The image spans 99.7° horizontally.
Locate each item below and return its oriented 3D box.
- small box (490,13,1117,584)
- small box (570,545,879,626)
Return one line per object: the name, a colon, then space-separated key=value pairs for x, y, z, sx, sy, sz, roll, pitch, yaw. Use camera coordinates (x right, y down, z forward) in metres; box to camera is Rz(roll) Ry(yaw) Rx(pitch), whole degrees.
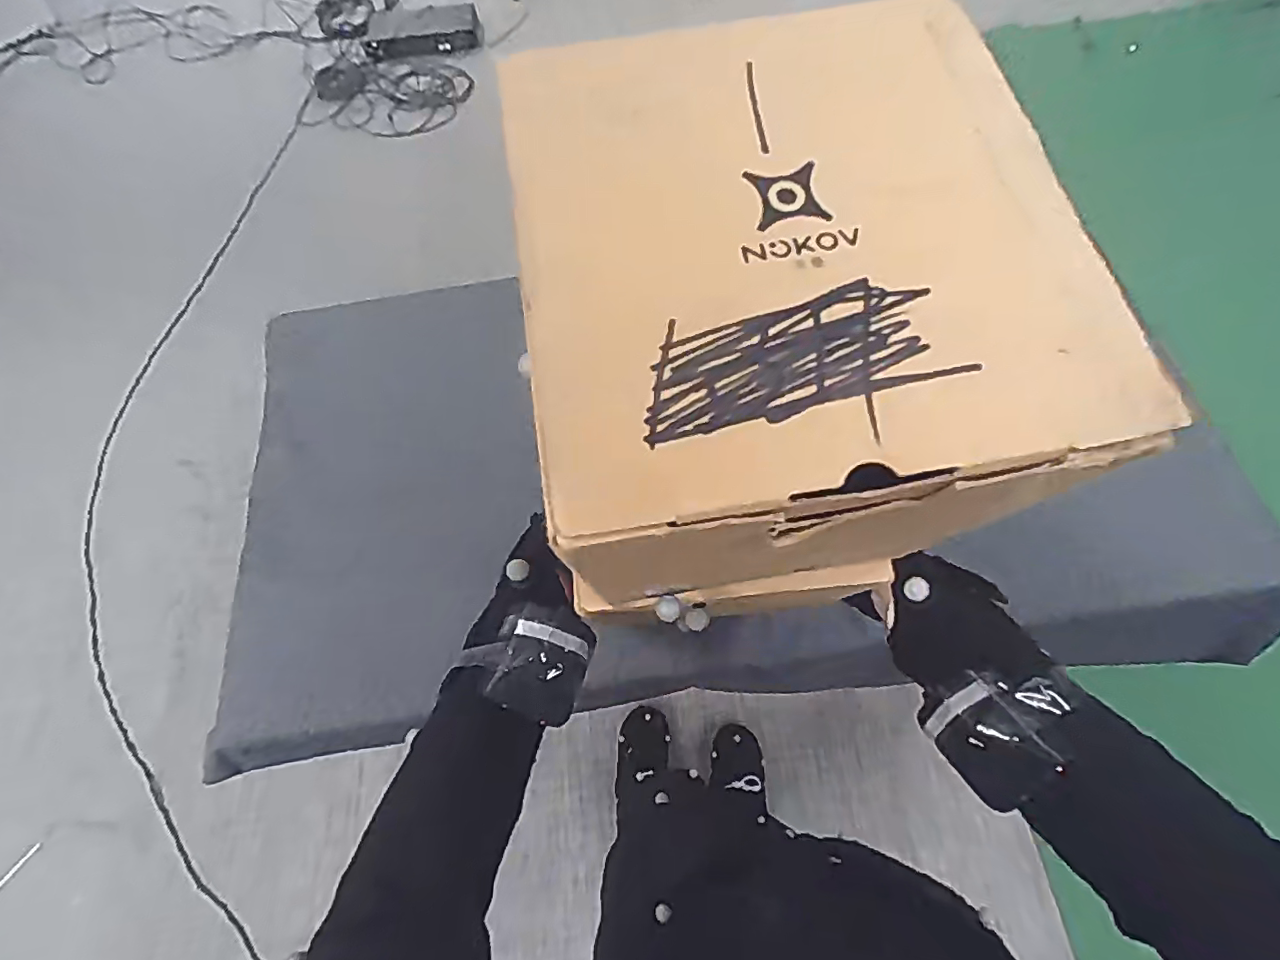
small box: x=0.041 y=-0.054 z=0.249 sx=0.168 sy=0.176 sz=0.179 roll=-10 pitch=70 yaw=-1
small box: x=0.042 y=0.008 z=0.403 sx=0.179 sy=0.176 sz=0.168 roll=-7 pitch=69 yaw=-2
